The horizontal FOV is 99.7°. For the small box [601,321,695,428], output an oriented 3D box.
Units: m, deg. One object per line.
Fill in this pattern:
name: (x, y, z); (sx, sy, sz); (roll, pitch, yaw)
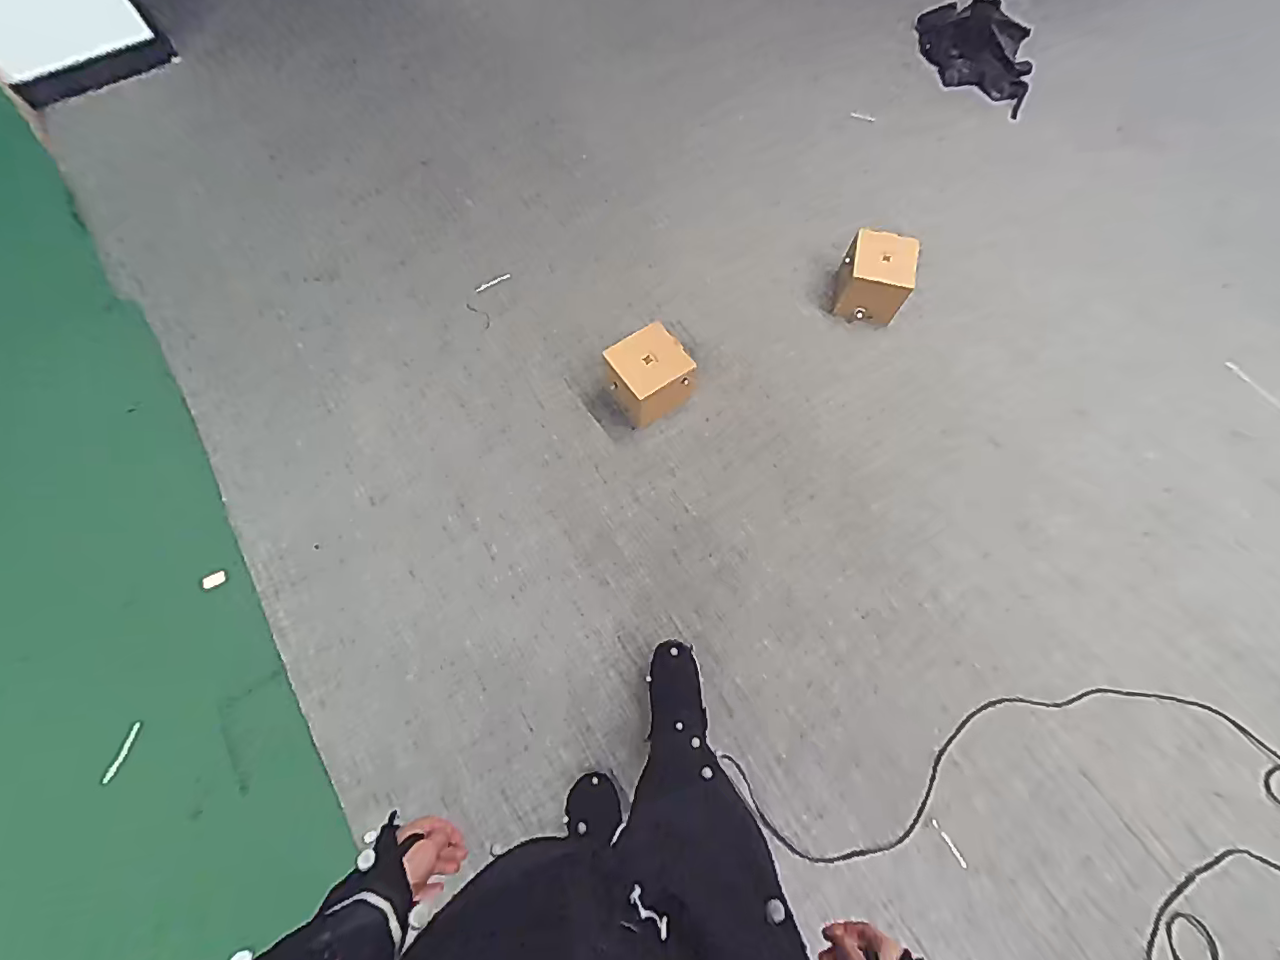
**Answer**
small box: (0.018, -0.262, 1.381); (0.179, 0.176, 0.168); (-33, 73, -14)

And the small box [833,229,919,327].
small box: (0.655, -0.562, 1.515); (0.168, 0.176, 0.179); (13, 70, 5)
